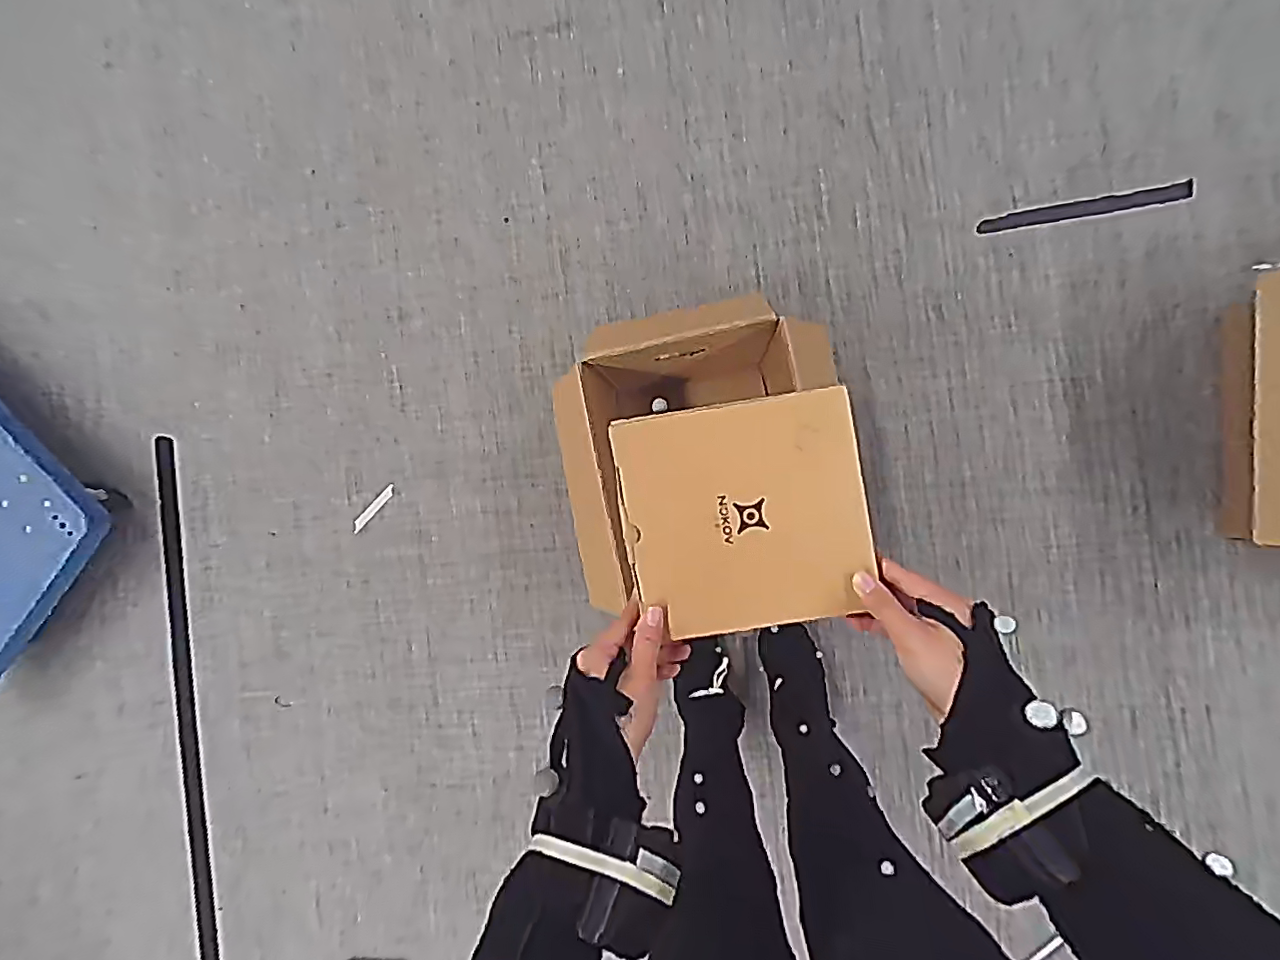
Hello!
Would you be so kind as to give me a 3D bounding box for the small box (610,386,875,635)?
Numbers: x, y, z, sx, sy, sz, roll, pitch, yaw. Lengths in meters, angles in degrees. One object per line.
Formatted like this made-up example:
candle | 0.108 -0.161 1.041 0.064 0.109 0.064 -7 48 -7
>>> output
small box | 0.079 0.020 0.477 0.179 0.176 0.168 -10 91 5
